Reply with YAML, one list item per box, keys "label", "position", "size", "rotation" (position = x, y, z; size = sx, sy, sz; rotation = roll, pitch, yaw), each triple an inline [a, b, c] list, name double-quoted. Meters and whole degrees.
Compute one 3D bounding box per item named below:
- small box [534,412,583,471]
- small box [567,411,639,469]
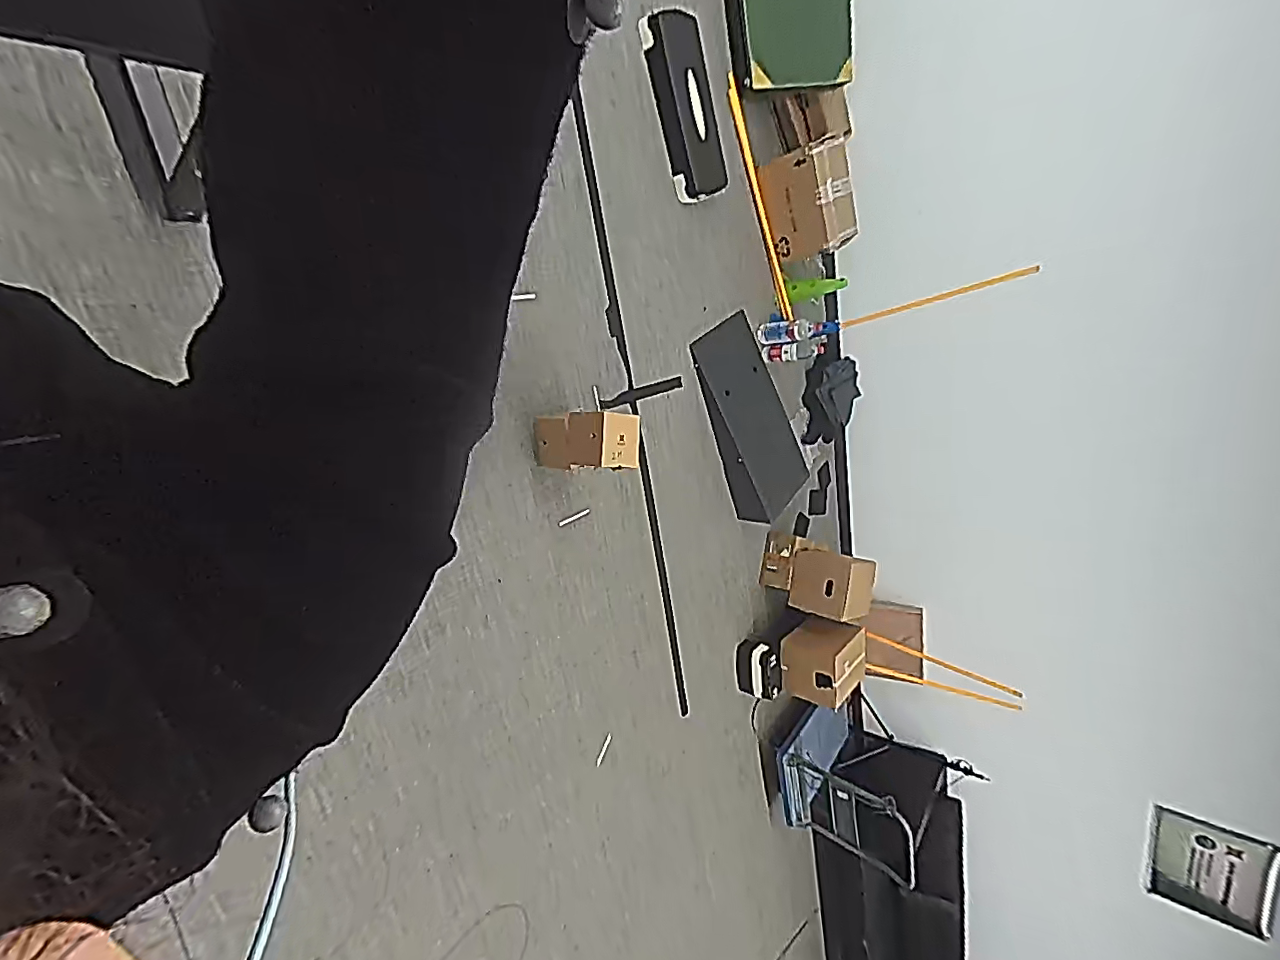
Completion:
- label: "small box"
  position: [-0.247, -0.138, 1.876]
  size: [0.168, 0.176, 0.179]
  rotation: [-19, 109, -45]
- label: "small box"
  position: [-0.122, -0.128, 1.767]
  size: [0.168, 0.176, 0.179]
  rotation: [0, 94, -47]
